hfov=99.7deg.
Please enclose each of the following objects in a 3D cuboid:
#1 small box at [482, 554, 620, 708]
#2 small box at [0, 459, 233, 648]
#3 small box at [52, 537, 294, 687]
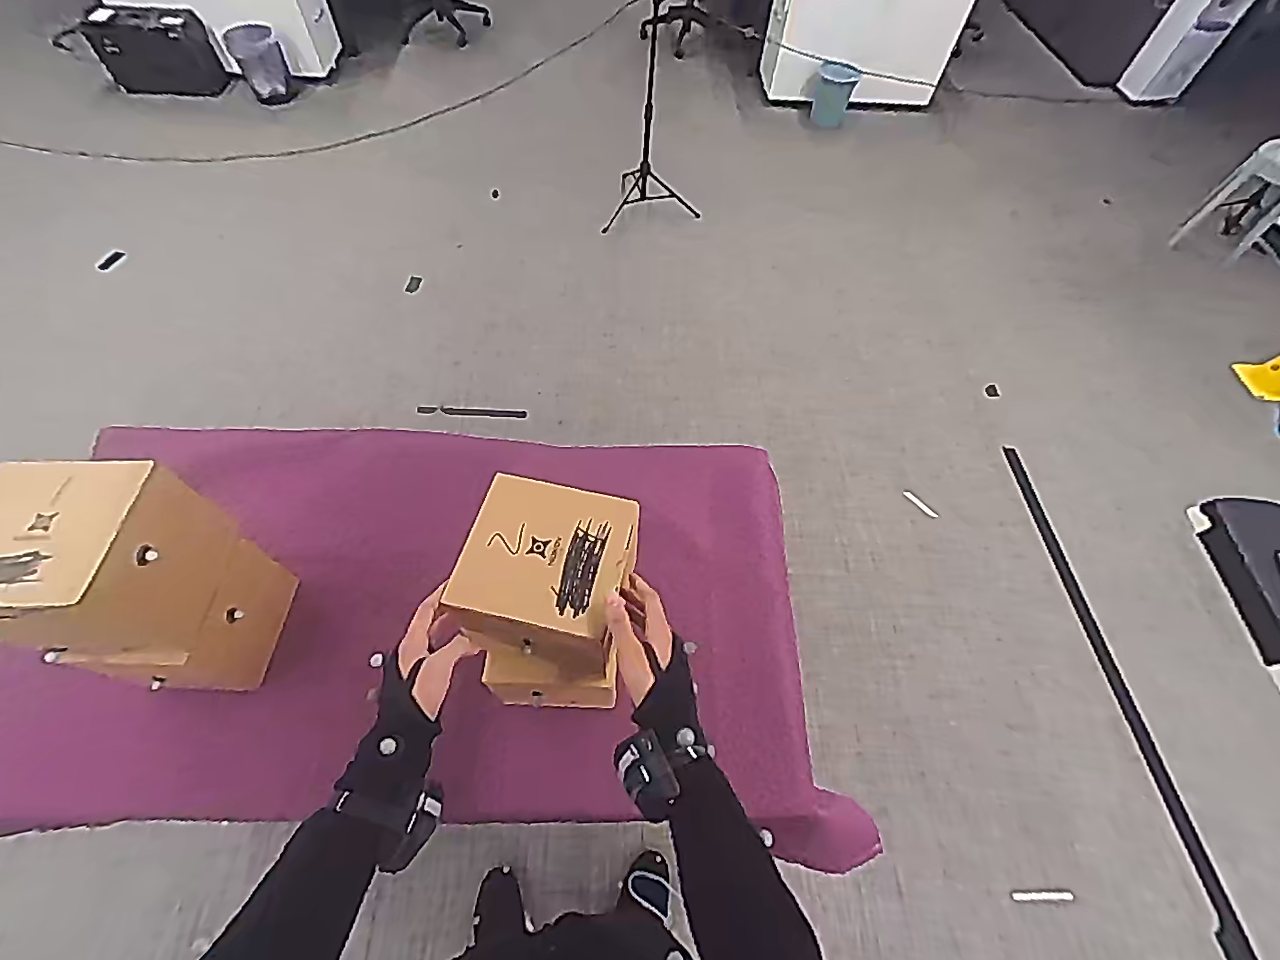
[{"bbox_3d":[-0.115,0.224,0.783,0.168,0.176,0.179,3,57,-1],"label":"small box"},{"bbox_3d":[-0.629,0.093,0.634,0.168,0.176,0.179,0,58,-4],"label":"small box"},{"bbox_3d":[-0.634,0.189,0.768,0.168,0.176,0.179,4,58,-2],"label":"small box"}]
